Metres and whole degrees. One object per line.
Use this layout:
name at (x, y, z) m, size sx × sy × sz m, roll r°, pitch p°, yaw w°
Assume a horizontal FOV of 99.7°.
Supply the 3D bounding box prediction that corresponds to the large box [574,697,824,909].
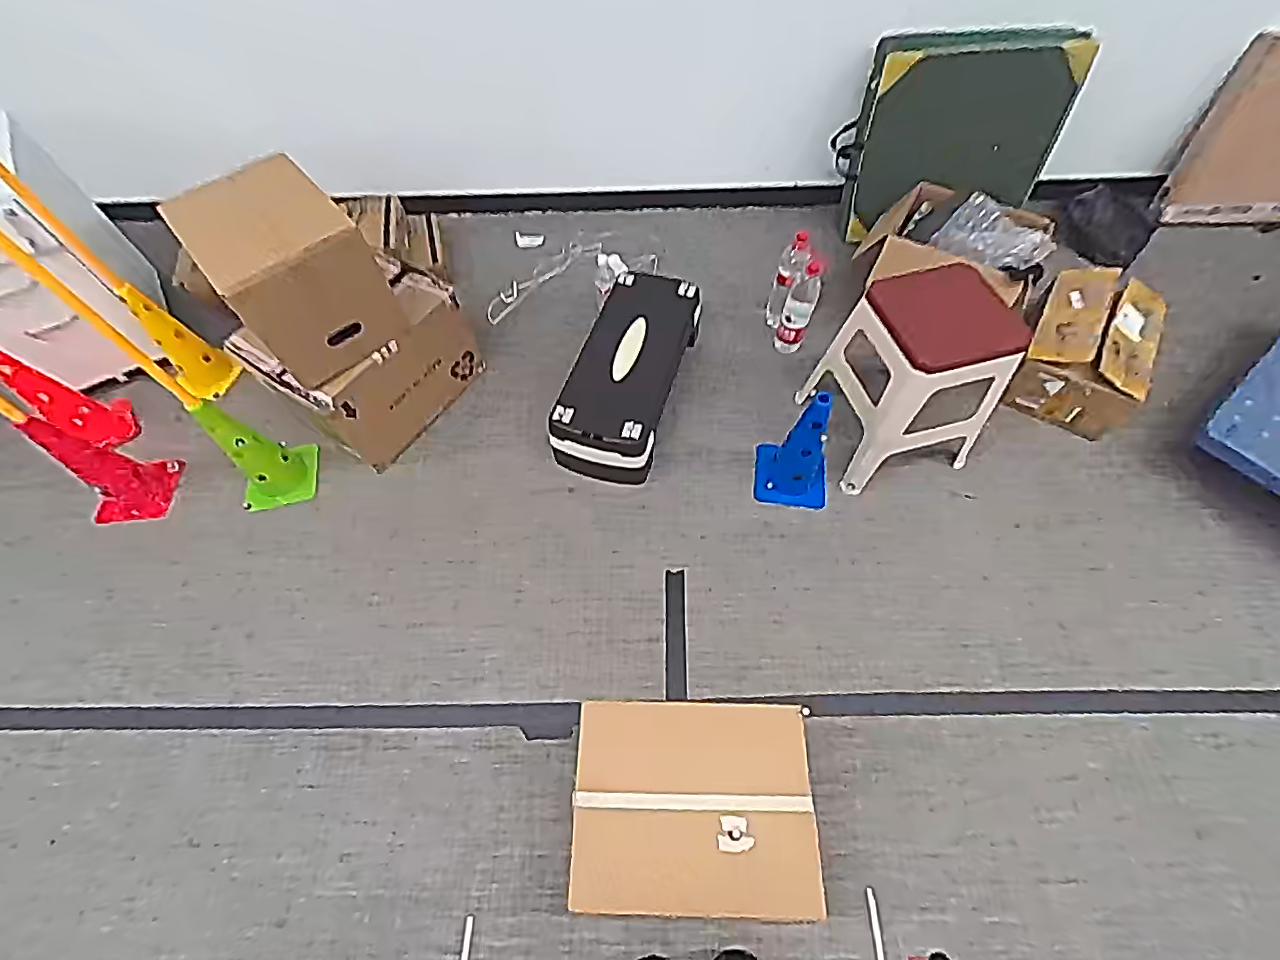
large box at (0.092, 0.614, 1.053) m, size 0.408 × 0.320 × 0.320 m, roll 1°, pitch 60°, yaw 0°
